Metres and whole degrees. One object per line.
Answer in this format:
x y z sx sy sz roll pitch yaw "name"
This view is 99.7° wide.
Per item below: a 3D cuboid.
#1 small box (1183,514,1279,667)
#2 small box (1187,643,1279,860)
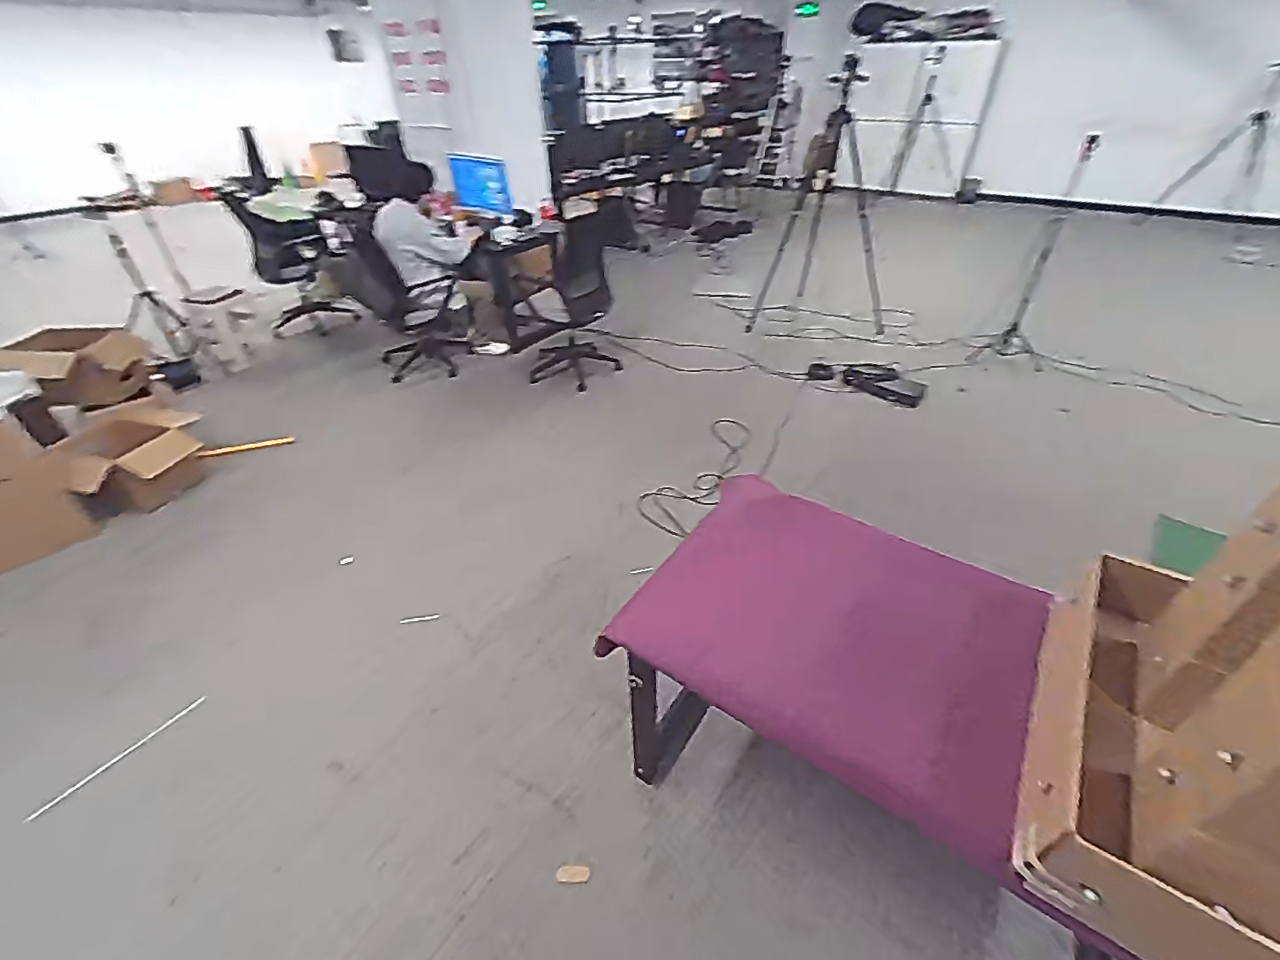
0.946 0.187 0.791 0.168 0.176 0.179 24 46 30 "small box"
0.772 0.332 0.613 0.168 0.176 0.179 23 43 30 "small box"
